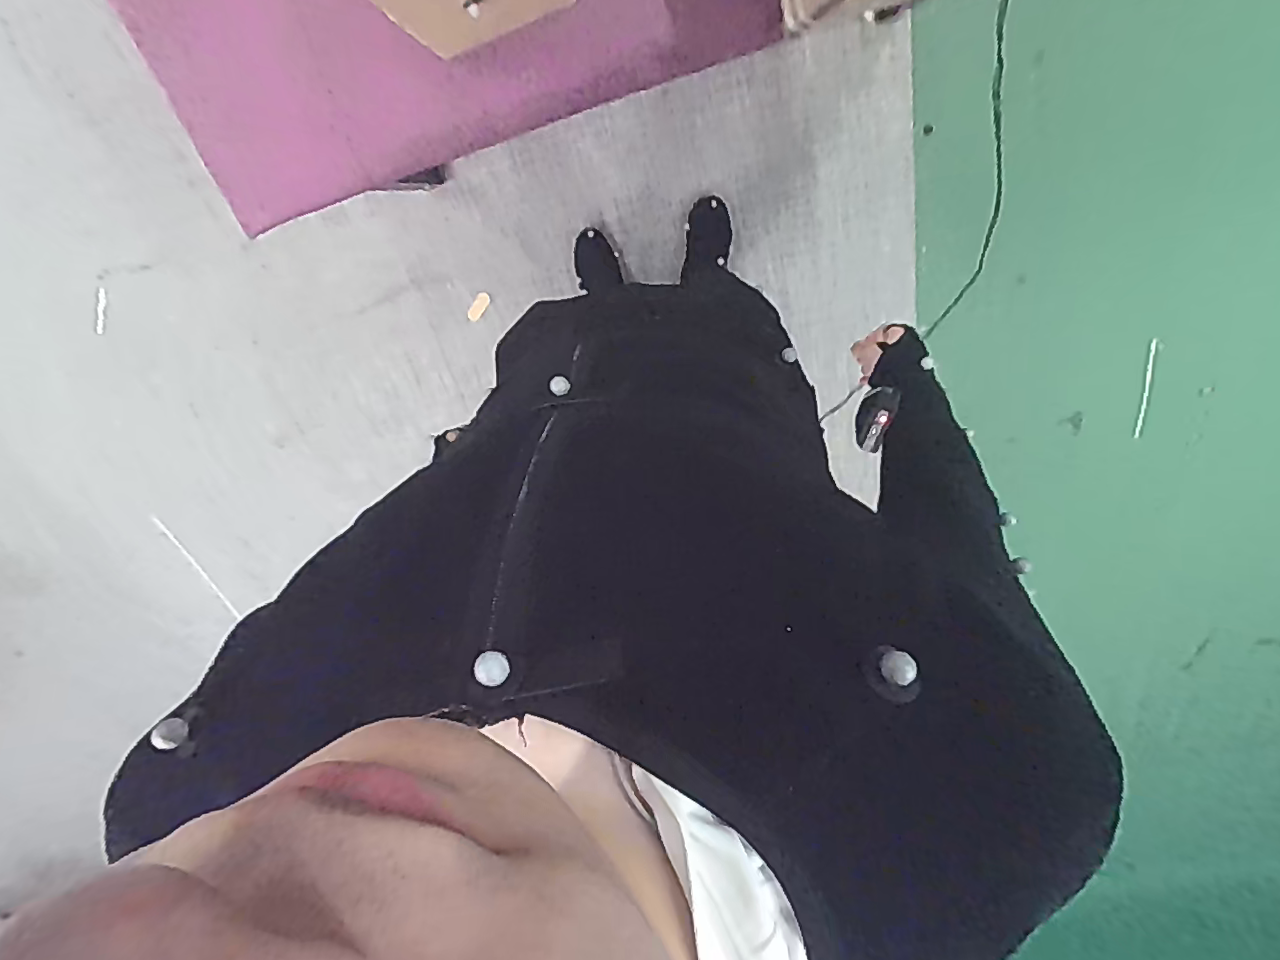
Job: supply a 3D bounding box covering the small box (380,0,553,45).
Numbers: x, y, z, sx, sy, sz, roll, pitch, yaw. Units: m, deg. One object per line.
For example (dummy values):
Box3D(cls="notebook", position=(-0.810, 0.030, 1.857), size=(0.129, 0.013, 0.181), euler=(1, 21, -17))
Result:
Box3D(cls="small box", position=(-0.184, -0.572, 0.533), size=(0.179, 0.176, 0.168), euler=(-17, 117, 8))
